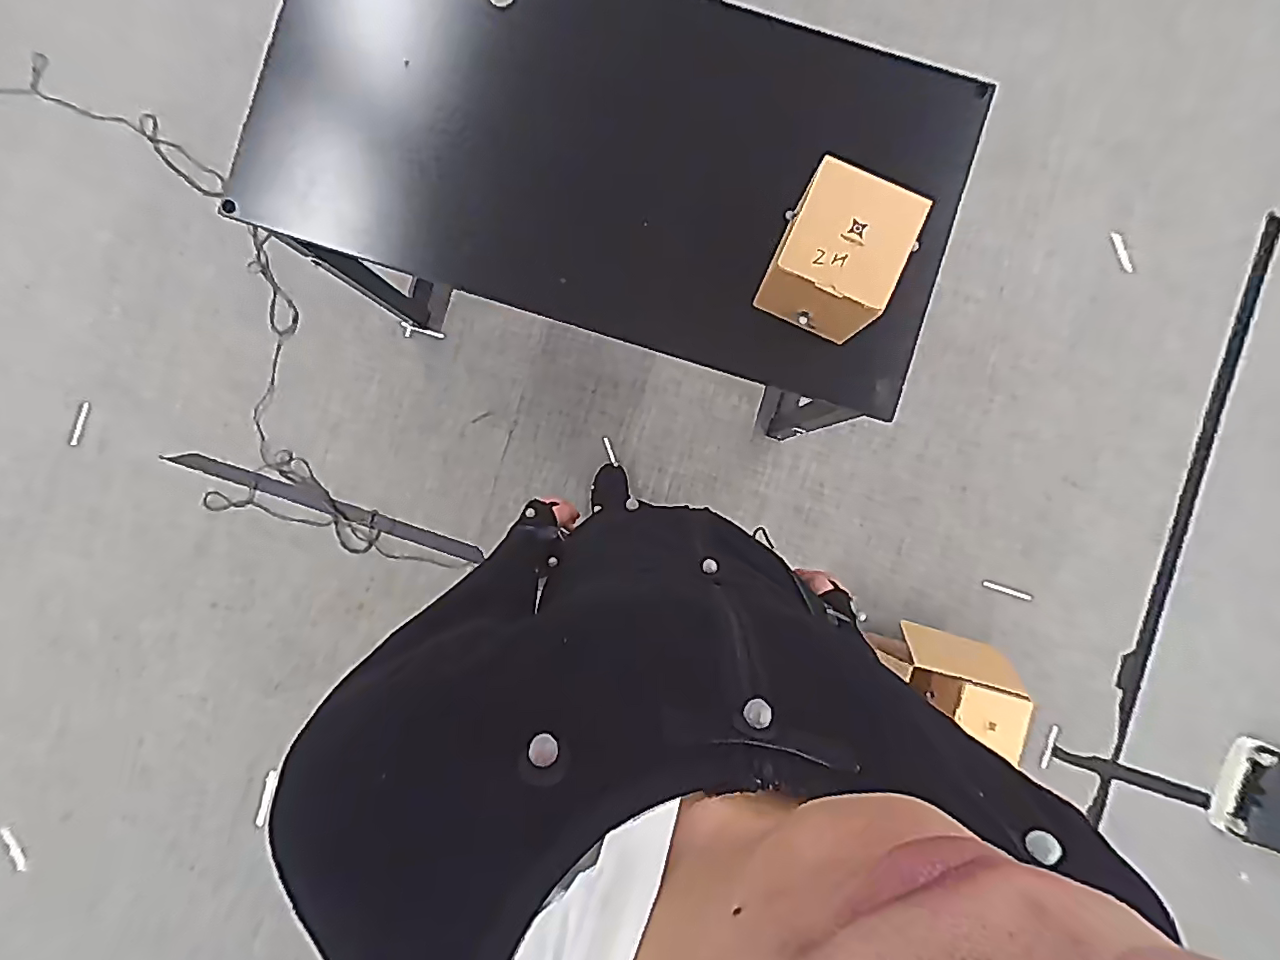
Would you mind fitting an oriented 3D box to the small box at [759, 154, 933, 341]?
[{"bbox_3d":[0.299,-0.342,0.830,0.168,0.176,0.179,25,90,1],"label":"small box"}]
